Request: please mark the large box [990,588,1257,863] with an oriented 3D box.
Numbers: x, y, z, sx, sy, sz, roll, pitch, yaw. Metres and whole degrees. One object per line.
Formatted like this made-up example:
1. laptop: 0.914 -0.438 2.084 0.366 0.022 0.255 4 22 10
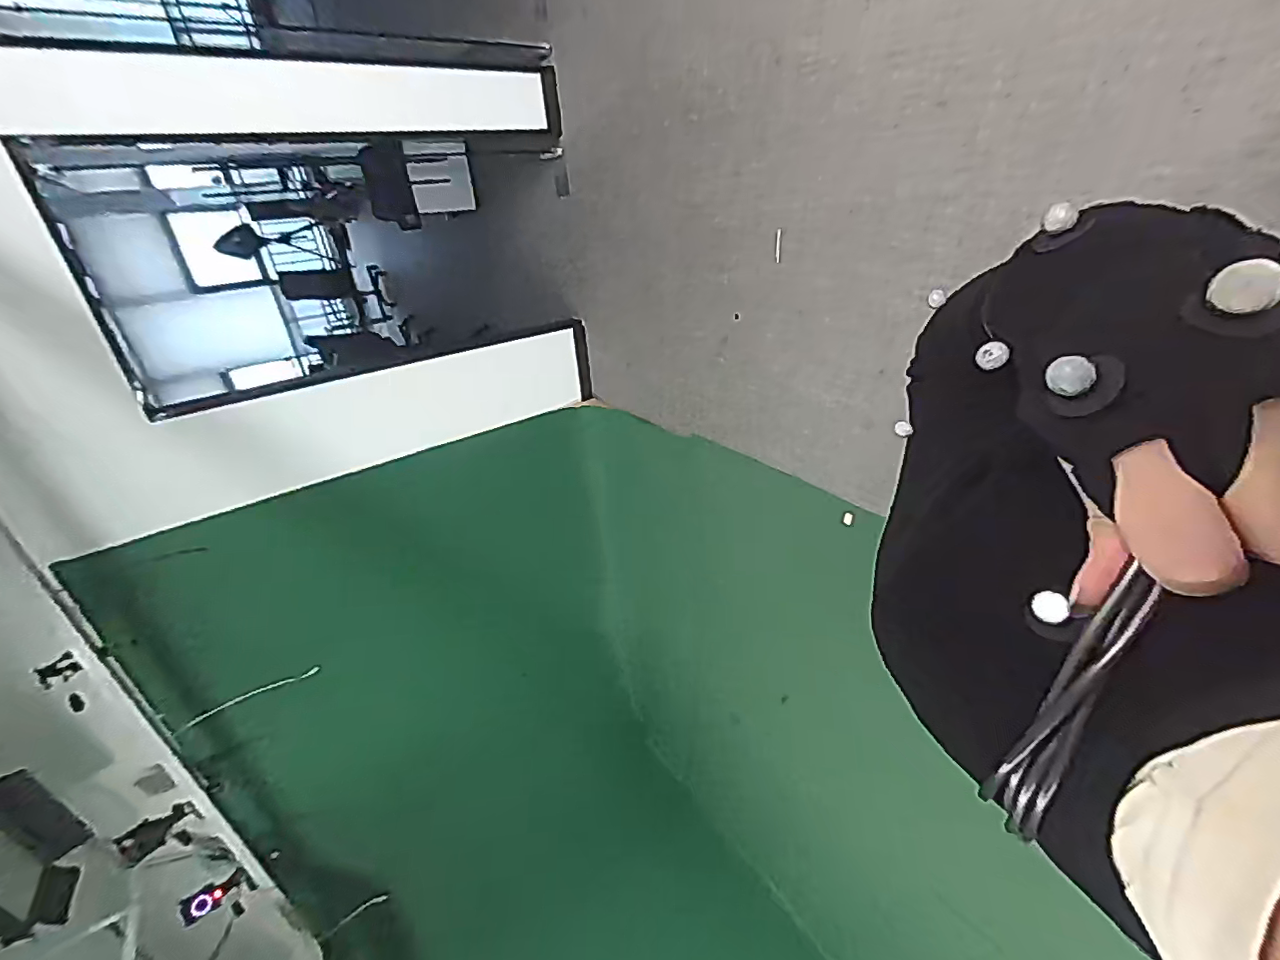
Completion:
1. large box: 1.066 0.527 1.221 0.320 0.320 0.408 31 133 46
